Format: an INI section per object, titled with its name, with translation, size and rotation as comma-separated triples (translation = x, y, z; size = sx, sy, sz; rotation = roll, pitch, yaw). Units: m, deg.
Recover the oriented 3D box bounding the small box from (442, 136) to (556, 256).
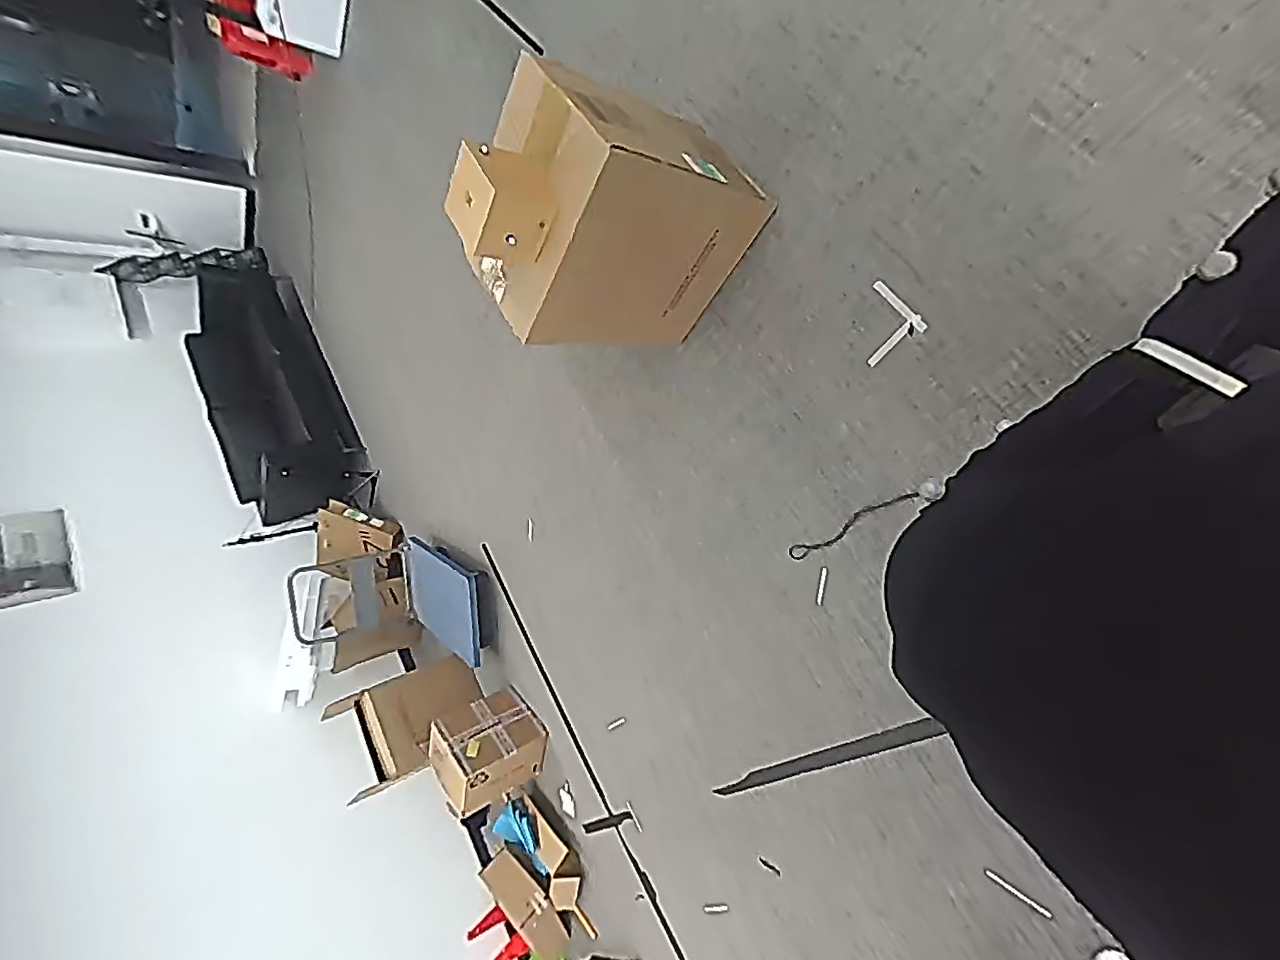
[small box]
translation = -0.315, -0.624, 1.212
size = 0.168, 0.176, 0.179
rotation = -49, 64, 42
